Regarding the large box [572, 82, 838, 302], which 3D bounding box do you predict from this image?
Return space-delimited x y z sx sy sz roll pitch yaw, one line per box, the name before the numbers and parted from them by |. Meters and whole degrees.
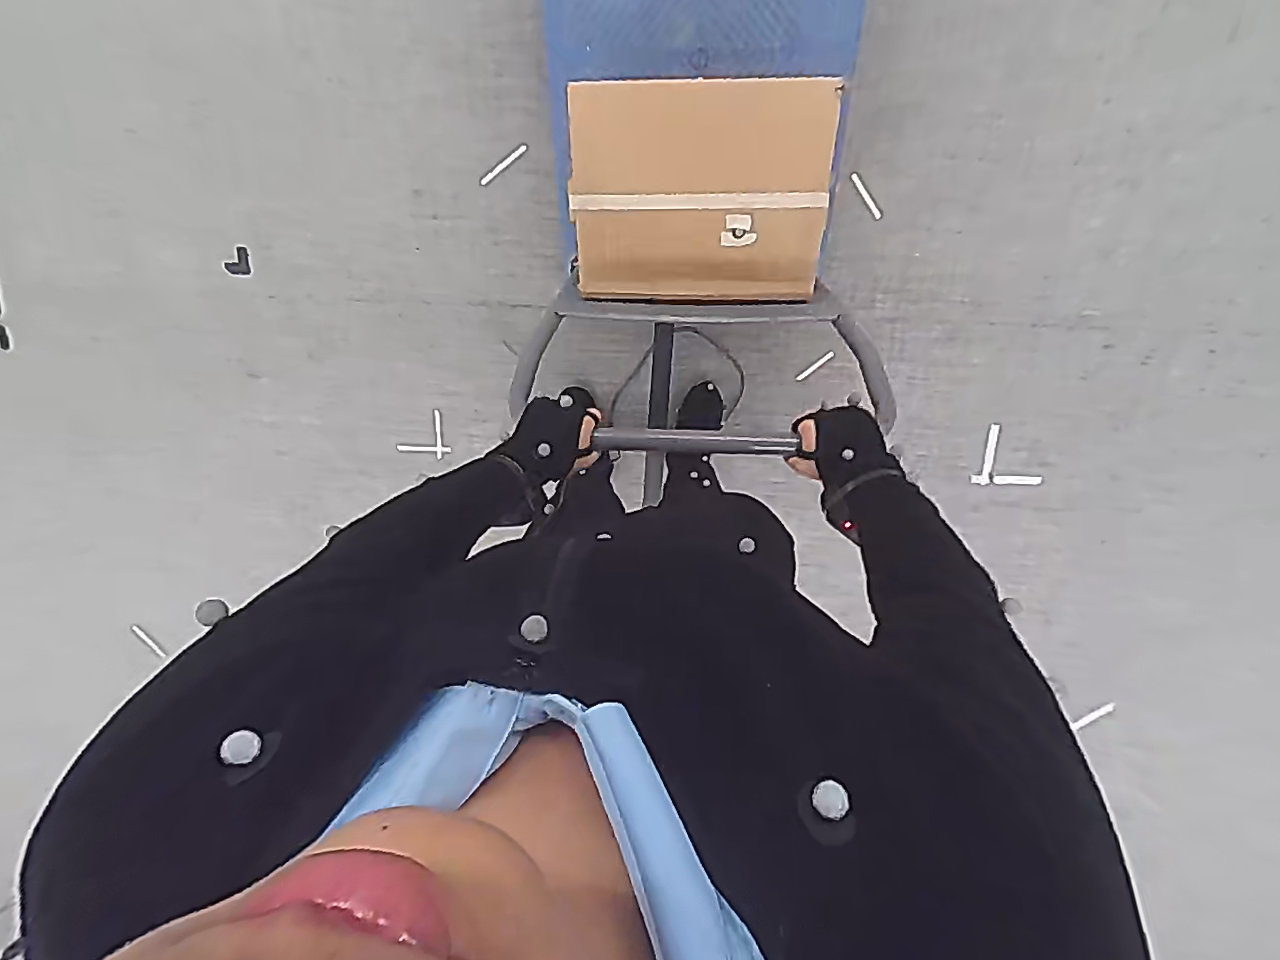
large box | 0.105 -0.528 1.008 0.408 0.320 0.320 1 122 3
